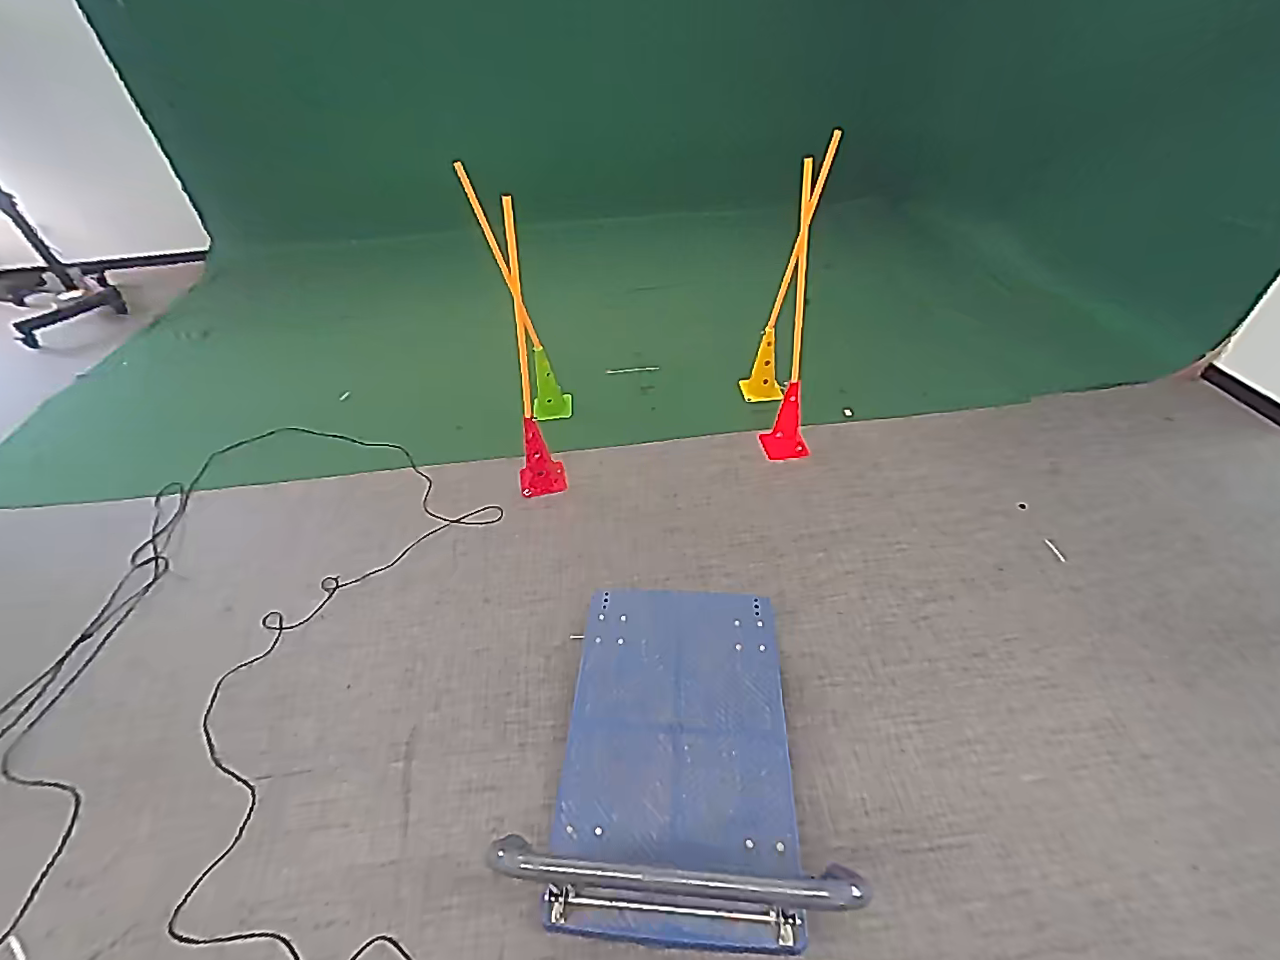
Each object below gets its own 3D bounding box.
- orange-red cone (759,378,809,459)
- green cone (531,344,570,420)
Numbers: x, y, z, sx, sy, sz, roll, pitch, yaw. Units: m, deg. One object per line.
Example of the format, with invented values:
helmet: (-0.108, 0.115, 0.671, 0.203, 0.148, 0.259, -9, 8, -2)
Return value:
orange-red cone: (0.655, -0.290, 2.386, 0.198, 0.360, 0.199, -5, 41, -3)
green cone: (-0.474, -0.506, 2.695, 0.200, 0.368, 0.202, -7, 42, -2)
